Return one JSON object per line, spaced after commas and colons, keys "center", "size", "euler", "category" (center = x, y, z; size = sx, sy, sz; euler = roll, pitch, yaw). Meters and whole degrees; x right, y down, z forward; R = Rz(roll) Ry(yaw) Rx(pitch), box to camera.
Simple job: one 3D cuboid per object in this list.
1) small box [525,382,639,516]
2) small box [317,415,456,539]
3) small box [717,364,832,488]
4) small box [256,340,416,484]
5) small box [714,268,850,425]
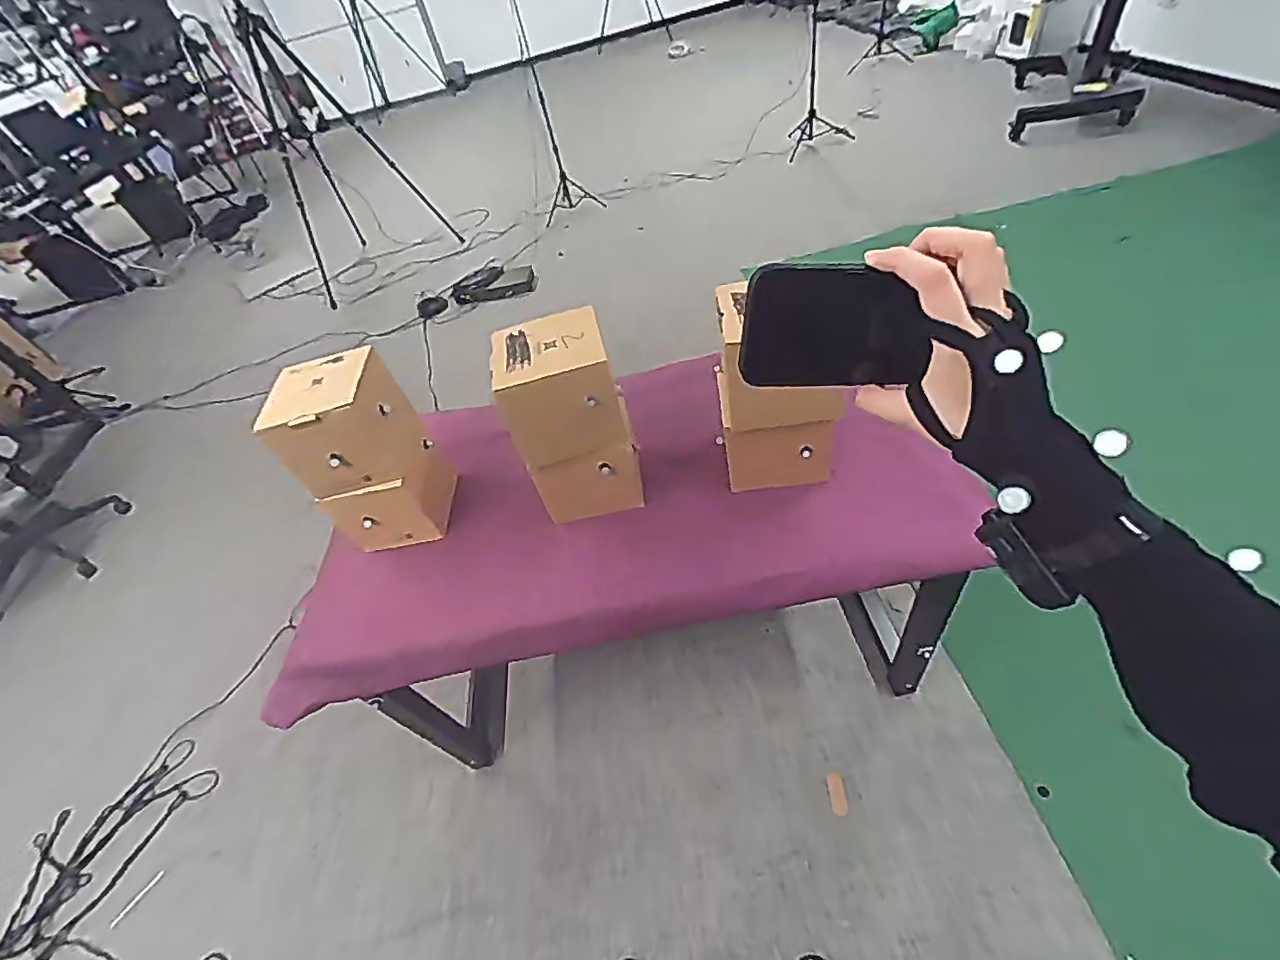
{"center": [-0.100, -0.054, 1.012], "size": [0.179, 0.176, 0.168], "euler": [-10, 47, 5], "category": "small box"}
{"center": [-0.483, 0.002, 1.063], "size": [0.168, 0.176, 0.179], "euler": [-10, 47, 6], "category": "small box"}
{"center": [0.235, -0.103, 0.973], "size": [0.179, 0.176, 0.168], "euler": [-6, 48, 10], "category": "small box"}
{"center": [-0.515, -0.112, 0.949], "size": [0.168, 0.176, 0.179], "euler": [-13, 48, 2], "category": "small box"}
{"center": [0.214, -0.201, 0.842], "size": [0.179, 0.176, 0.168], "euler": [-6, 48, 9], "category": "small box"}
